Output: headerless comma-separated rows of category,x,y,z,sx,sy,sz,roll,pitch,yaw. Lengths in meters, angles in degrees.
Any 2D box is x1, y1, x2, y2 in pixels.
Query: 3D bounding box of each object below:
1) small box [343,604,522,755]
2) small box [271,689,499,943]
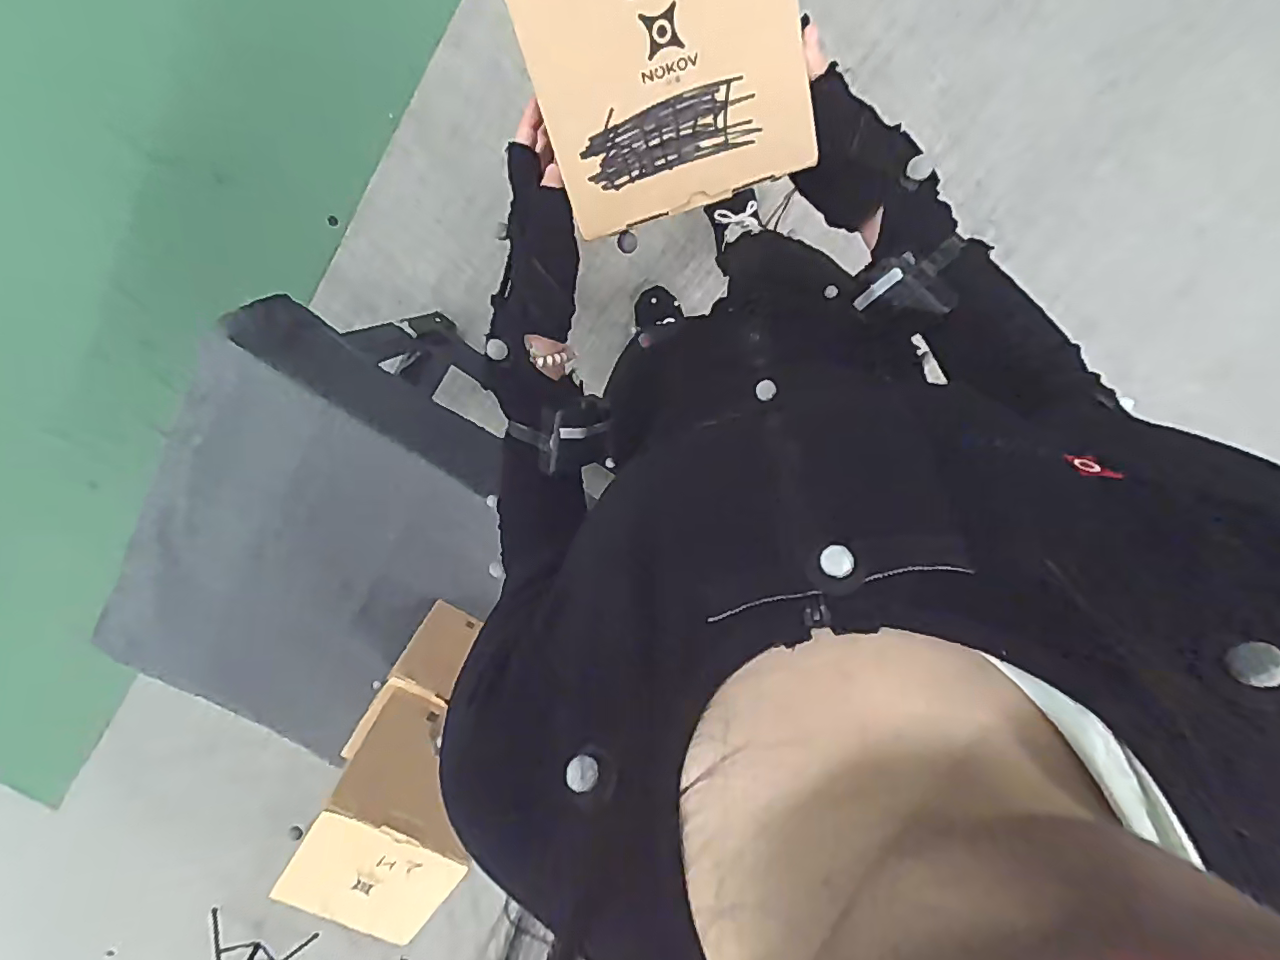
small box,-0.292,0.319,0.803,0.168,0.176,0.179,33,110,-11
small box,-0.294,0.399,0.658,0.168,0.176,0.179,32,109,-11
